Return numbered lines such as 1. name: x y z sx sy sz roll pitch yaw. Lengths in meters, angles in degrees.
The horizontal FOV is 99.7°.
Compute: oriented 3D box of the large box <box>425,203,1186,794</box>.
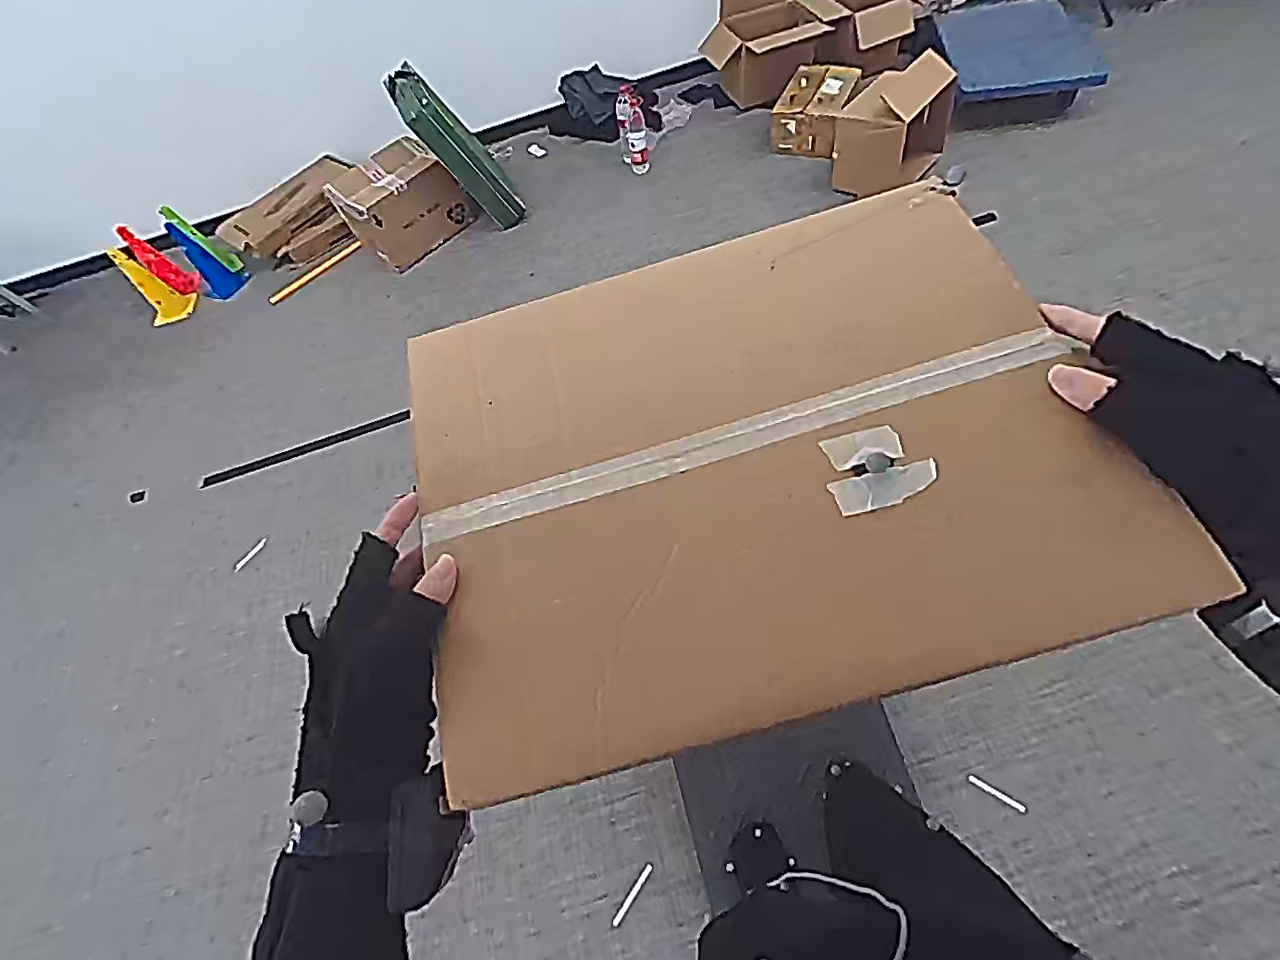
1. large box: 0.081 0.039 0.483 0.408 0.320 0.320 -17 66 1
